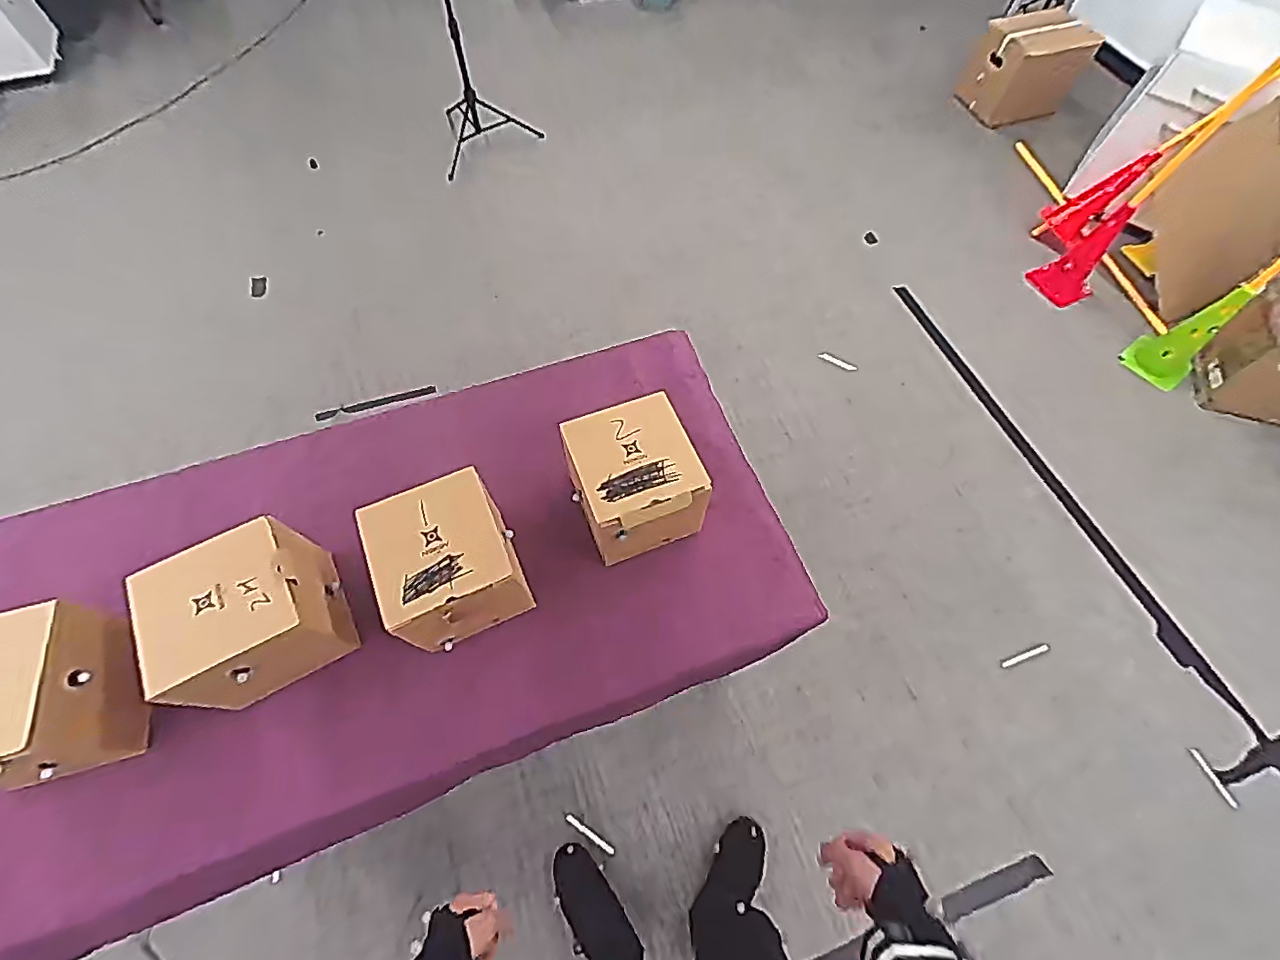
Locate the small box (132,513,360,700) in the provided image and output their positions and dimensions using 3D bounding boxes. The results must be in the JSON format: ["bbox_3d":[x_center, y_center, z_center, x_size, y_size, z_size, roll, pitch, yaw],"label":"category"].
[{"bbox_3d":[-0.518,0.178,0.730,0.179,0.176,0.168,-26,67,-13],"label":"small box"}]

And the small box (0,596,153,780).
[{"bbox_3d":[-0.759,0.268,0.682,0.168,0.176,0.179,-13,64,-8],"label":"small box"}]

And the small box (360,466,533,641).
[{"bbox_3d":[-0.264,0.114,0.768,0.168,0.176,0.179,-22,65,-12],"label":"small box"}]
